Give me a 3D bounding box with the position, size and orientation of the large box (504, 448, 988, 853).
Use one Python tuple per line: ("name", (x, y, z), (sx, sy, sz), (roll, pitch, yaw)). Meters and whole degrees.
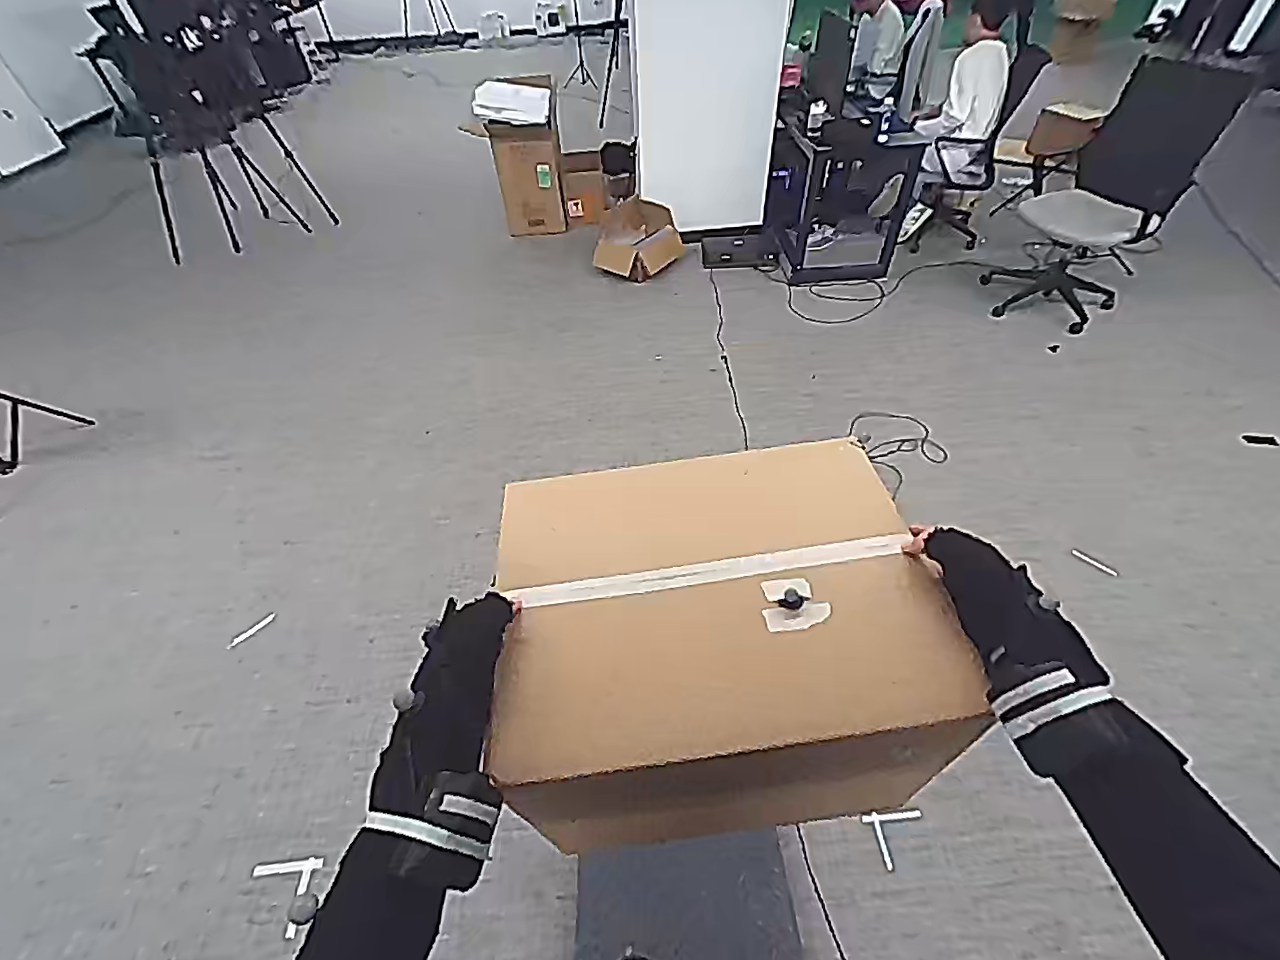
("large box", (0.080, 0.202, 0.637), (0.408, 0.320, 0.320), (-8, 47, -1))
